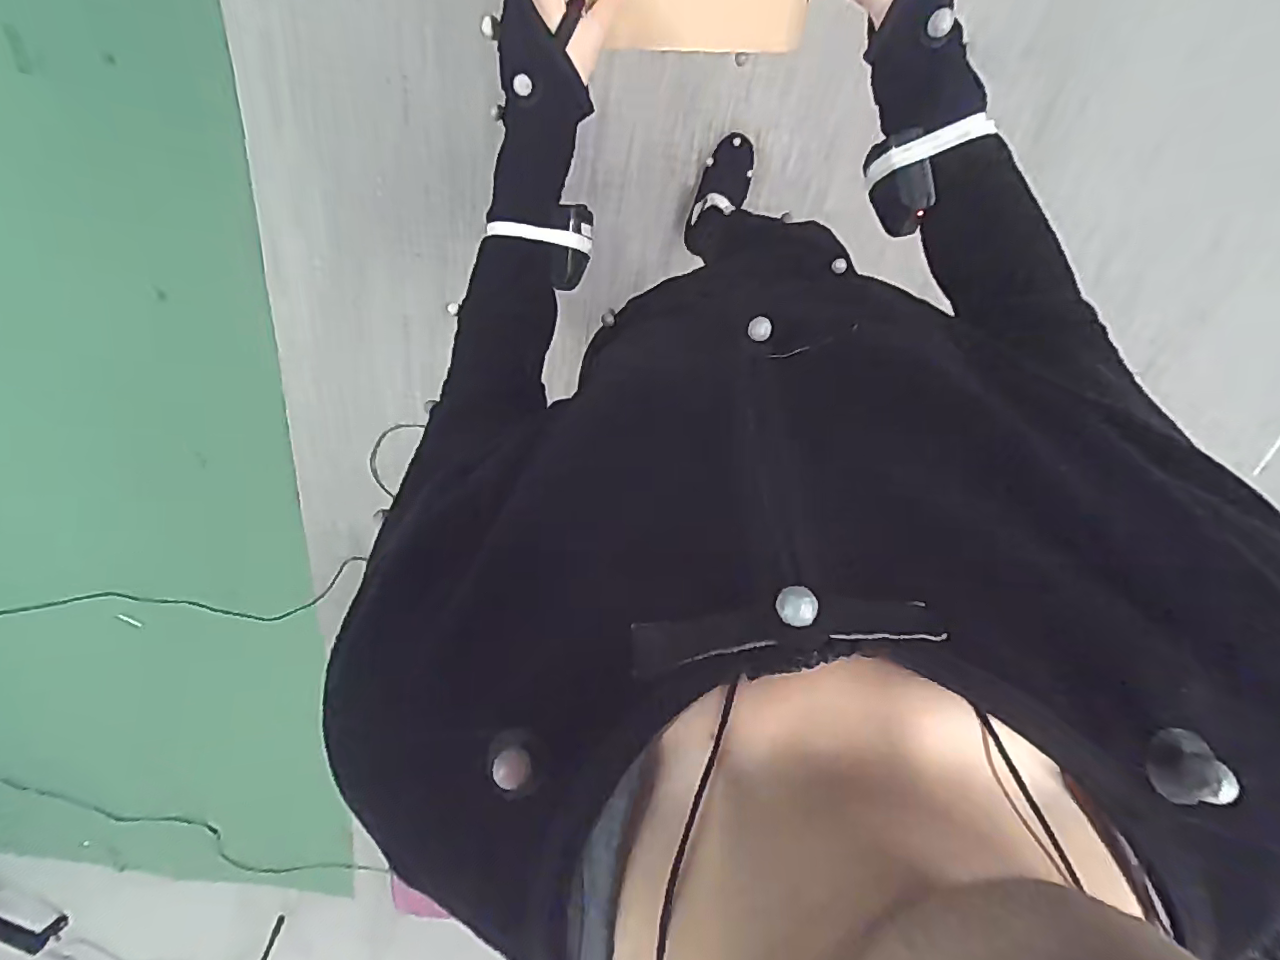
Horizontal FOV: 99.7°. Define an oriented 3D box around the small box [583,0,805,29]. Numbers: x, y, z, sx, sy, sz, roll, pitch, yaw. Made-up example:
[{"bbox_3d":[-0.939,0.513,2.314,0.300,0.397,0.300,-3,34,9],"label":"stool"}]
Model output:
[{"bbox_3d":[0.039,-0.477,0.423,0.179,0.176,0.168,-3,140,-5],"label":"small box"}]
